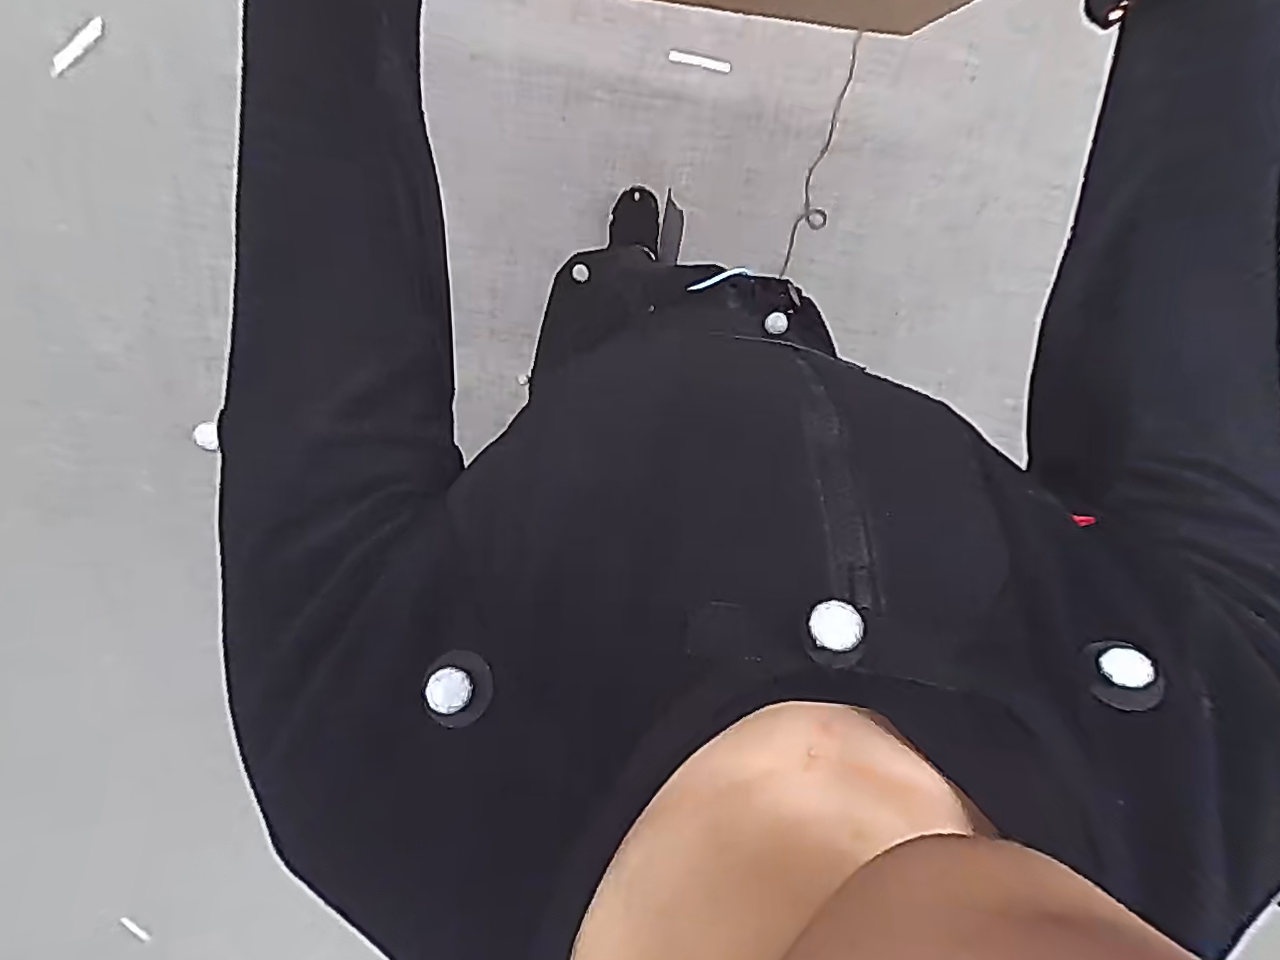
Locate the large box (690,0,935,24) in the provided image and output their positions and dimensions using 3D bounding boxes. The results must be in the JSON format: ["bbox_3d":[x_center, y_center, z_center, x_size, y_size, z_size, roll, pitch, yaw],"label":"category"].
[{"bbox_3d":[0.097,-0.563,0.370,0.408,0.320,0.320,5,120,-3],"label":"large box"}]
